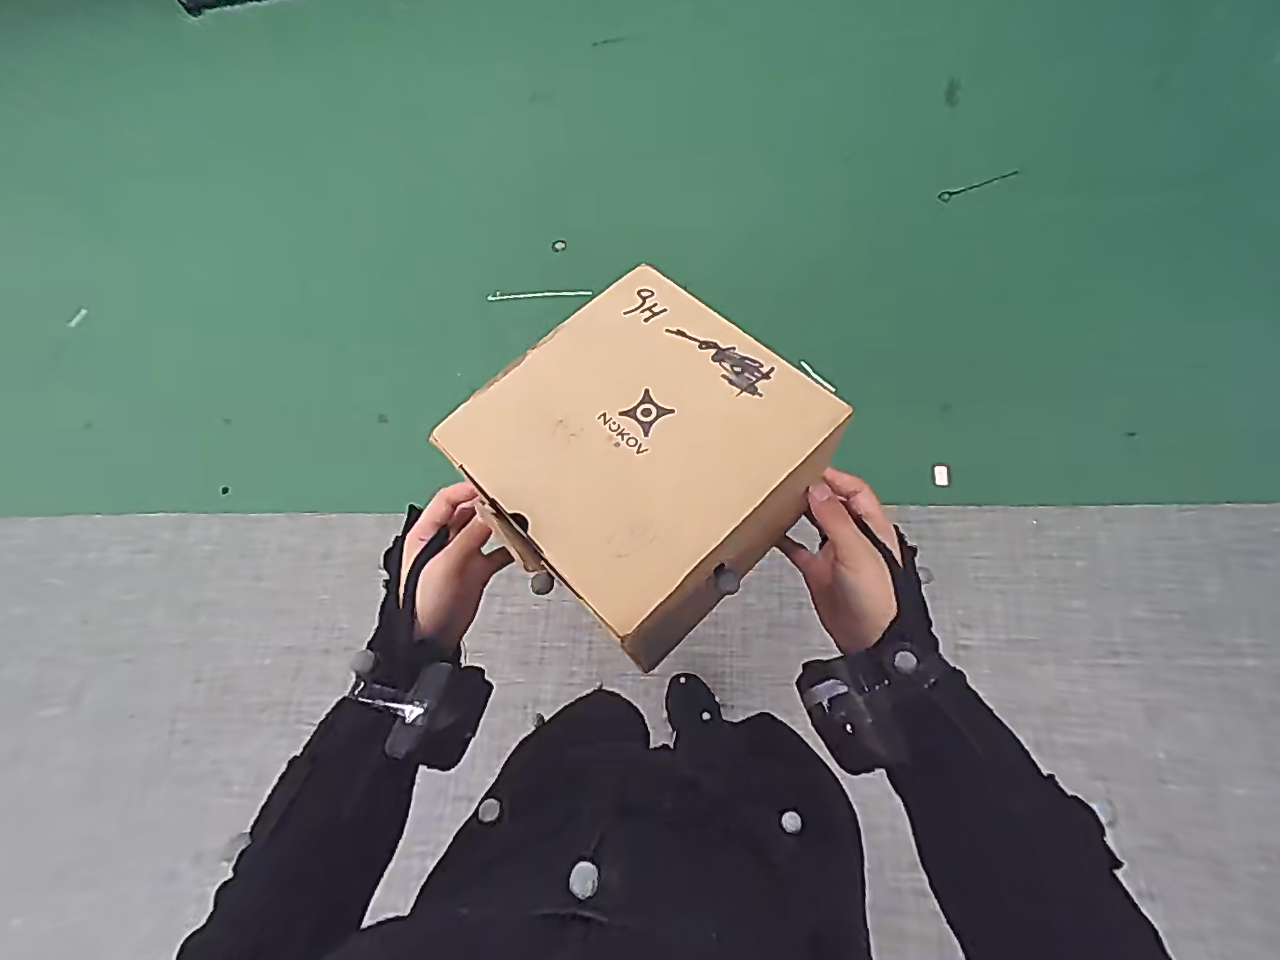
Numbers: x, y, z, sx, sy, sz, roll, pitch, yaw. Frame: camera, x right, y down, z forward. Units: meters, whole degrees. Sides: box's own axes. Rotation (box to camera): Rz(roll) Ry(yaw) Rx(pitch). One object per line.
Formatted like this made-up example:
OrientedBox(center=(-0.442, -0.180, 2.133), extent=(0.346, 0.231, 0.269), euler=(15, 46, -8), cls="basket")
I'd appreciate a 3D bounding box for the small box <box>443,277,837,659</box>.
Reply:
OrientedBox(center=(0.005, 0.005, 0.384), extent=(0.179, 0.176, 0.168), euler=(-43, 69, -13), cls="small box")
